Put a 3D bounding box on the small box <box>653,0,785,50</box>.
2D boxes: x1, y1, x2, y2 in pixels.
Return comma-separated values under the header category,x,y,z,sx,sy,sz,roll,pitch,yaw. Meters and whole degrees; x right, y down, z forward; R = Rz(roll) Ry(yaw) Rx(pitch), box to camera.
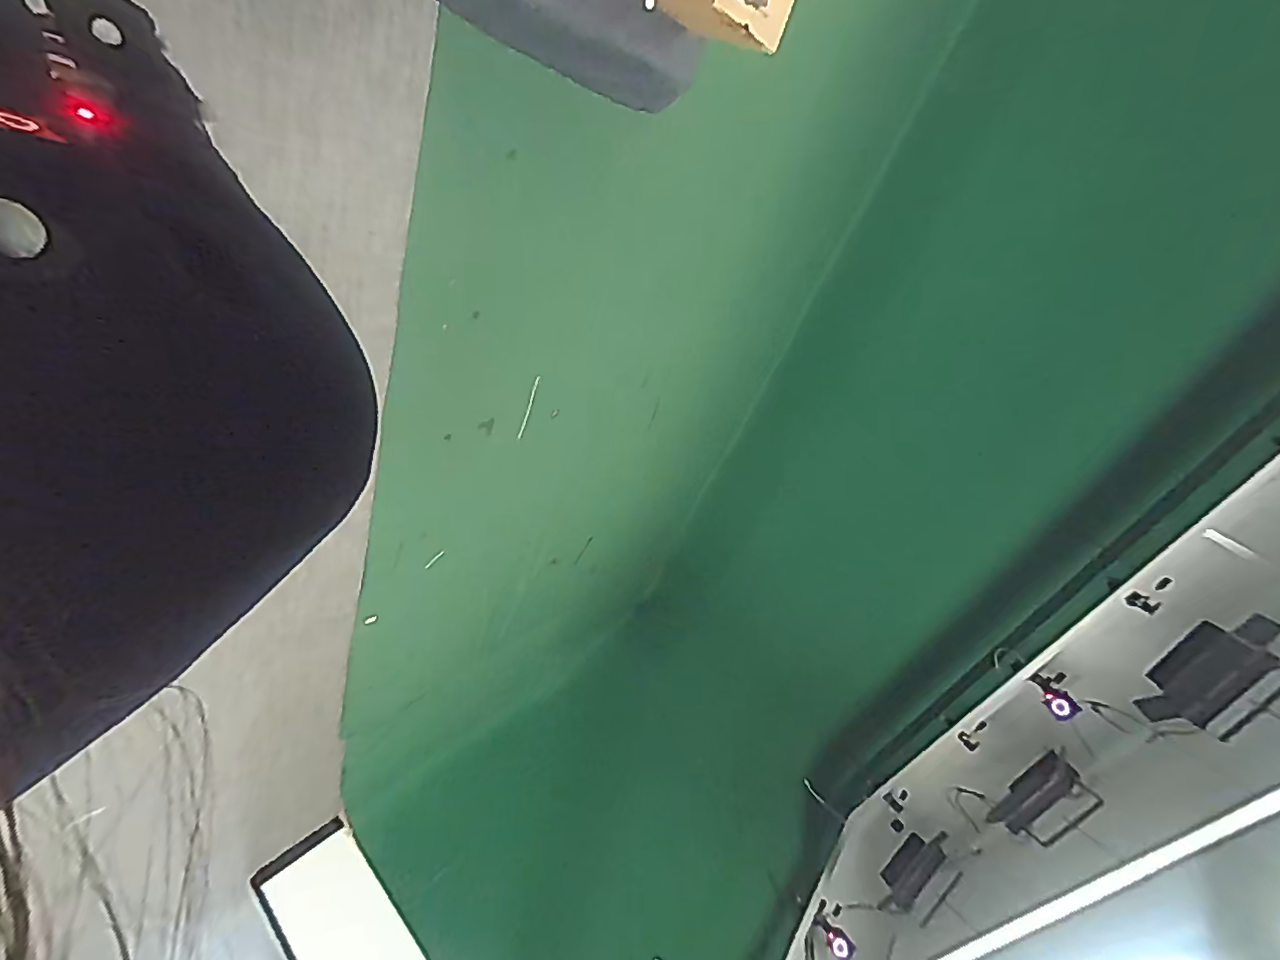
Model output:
category,x,y,z,sx,sy,sz,roll,pitch,yaw
small box,0.102,-0.722,0.717,0.168,0.176,0.179,-19,139,-49
